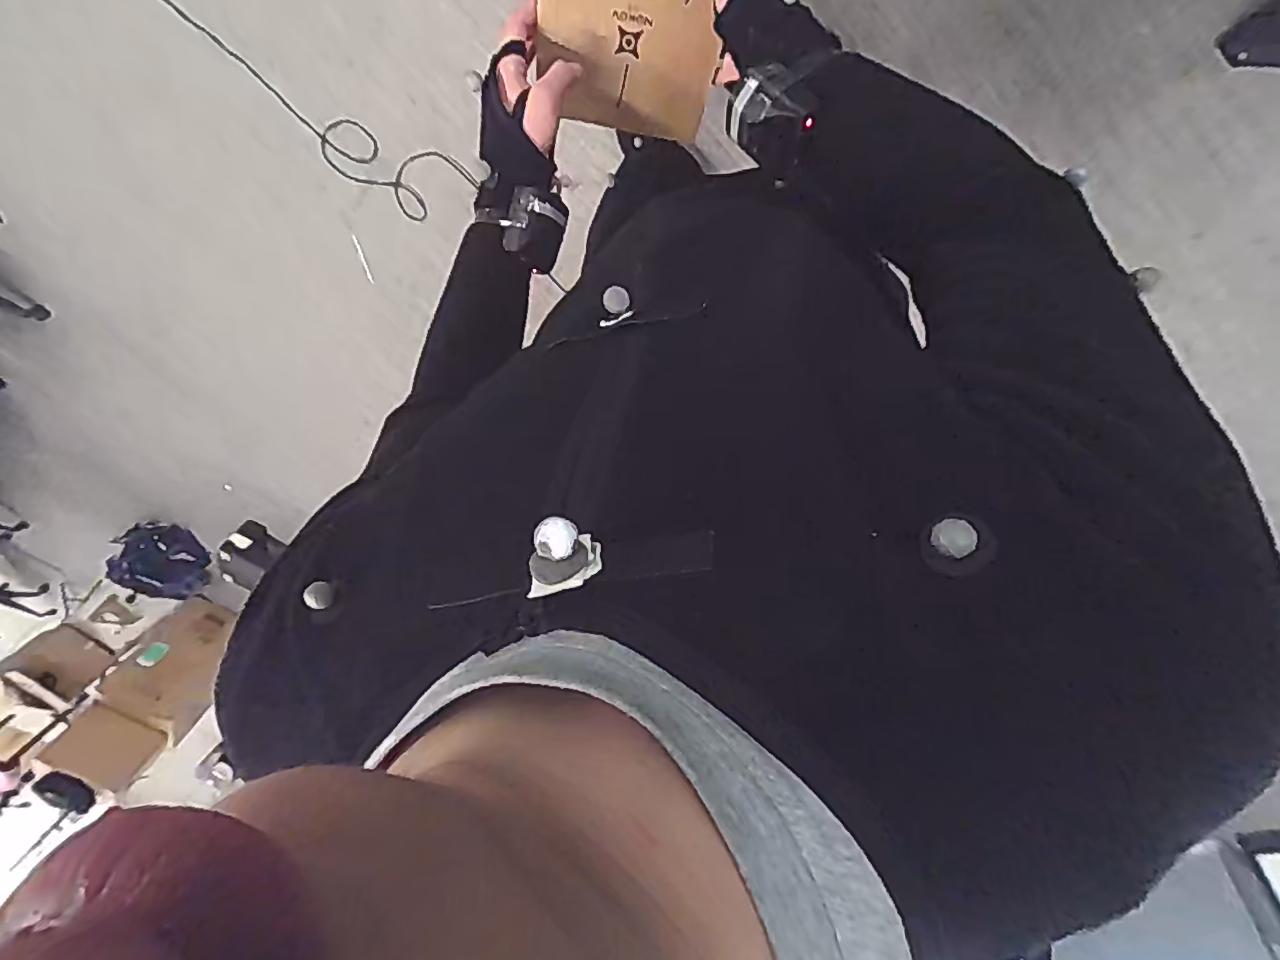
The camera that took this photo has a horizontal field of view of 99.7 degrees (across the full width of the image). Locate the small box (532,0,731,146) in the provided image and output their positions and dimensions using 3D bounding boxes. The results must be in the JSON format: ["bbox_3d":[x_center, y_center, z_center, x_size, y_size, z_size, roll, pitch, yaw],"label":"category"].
[{"bbox_3d":[-0.010,-0.462,0.504,0.168,0.176,0.179,6,155,-8],"label":"small box"}]

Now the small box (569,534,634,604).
[{"bbox_3d":[-0.143,0.340,2.087,0.168,0.176,0.179,37,131,-9],"label":"small box"}]
